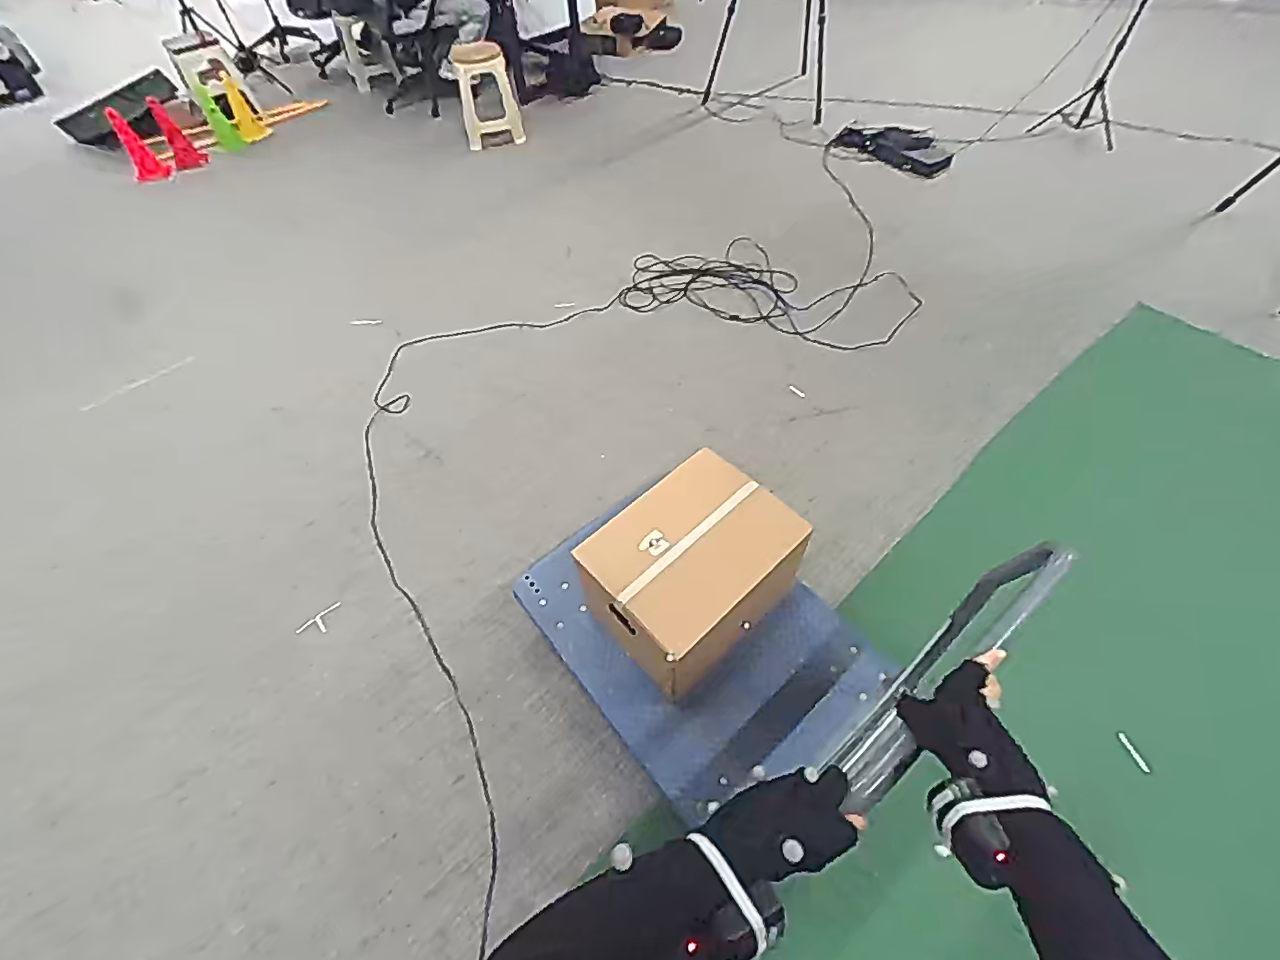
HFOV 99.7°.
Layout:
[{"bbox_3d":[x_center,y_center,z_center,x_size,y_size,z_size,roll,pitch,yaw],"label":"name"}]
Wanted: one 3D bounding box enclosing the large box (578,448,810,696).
[{"bbox_3d":[0.123,0.210,1.243,0.408,0.320,0.320,-38,60,-21],"label":"large box"}]
